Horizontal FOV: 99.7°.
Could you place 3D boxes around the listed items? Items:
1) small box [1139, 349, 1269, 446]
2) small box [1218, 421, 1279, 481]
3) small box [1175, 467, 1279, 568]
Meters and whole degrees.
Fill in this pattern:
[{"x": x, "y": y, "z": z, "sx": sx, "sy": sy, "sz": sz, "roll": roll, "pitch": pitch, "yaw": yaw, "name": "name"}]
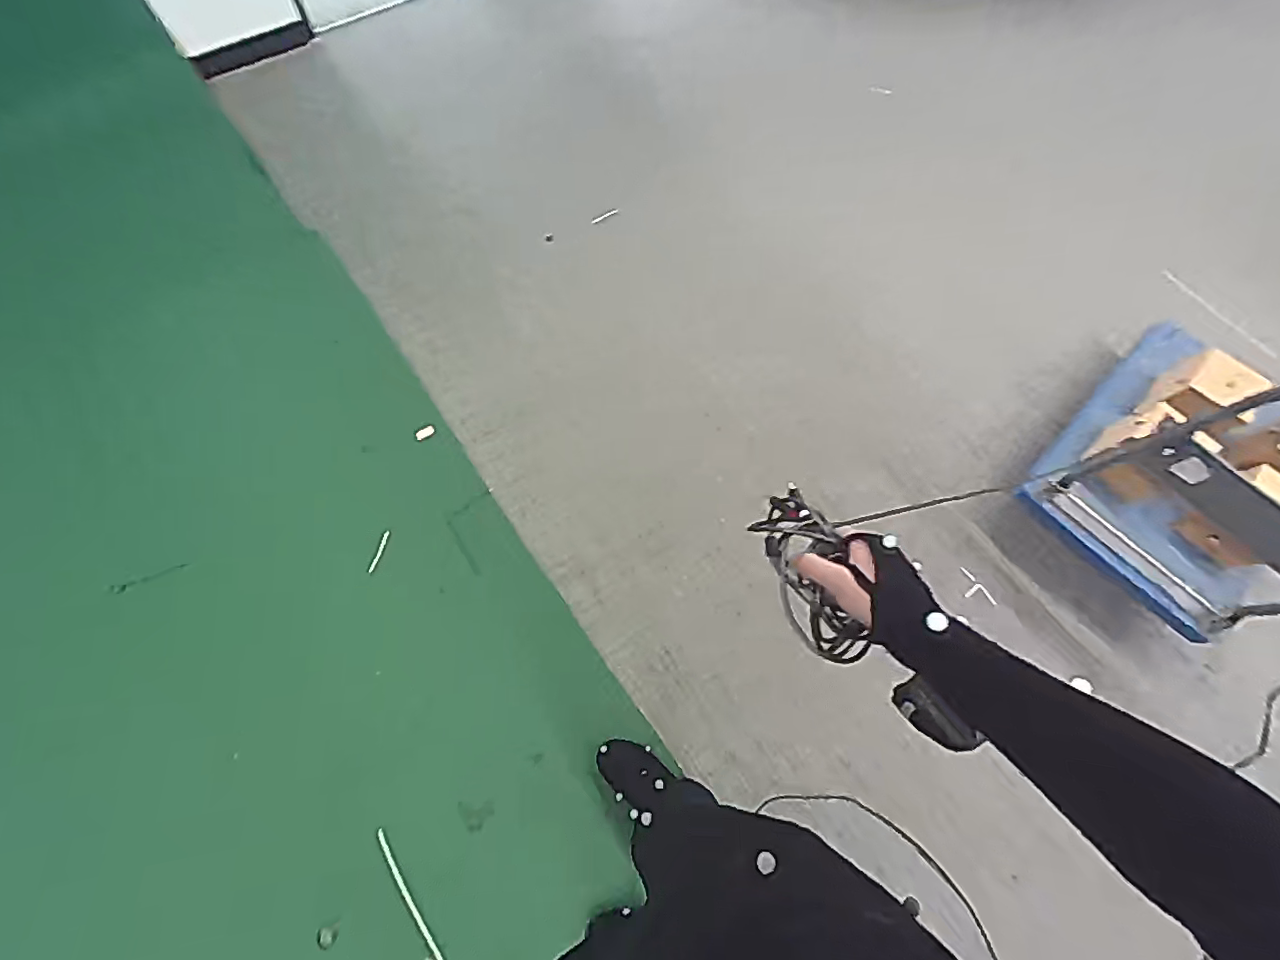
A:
[{"x": 1.575, "y": -0.226, "z": 1.523, "sx": 0.168, "sy": 0.176, "sz": 0.179, "roll": 42, "pitch": 73, "yaw": 11, "name": "small box"}, {"x": 1.750, "y": -0.051, "z": 1.465, "sx": 0.179, "sy": 0.176, "sz": 0.168, "roll": -42, "pitch": 76, "yaw": -16, "name": "small box"}, {"x": 1.565, "y": 0.102, "z": 1.400, "sx": 0.179, "sy": 0.176, "sz": 0.168, "roll": -39, "pitch": 76, "yaw": -15, "name": "small box"}]
